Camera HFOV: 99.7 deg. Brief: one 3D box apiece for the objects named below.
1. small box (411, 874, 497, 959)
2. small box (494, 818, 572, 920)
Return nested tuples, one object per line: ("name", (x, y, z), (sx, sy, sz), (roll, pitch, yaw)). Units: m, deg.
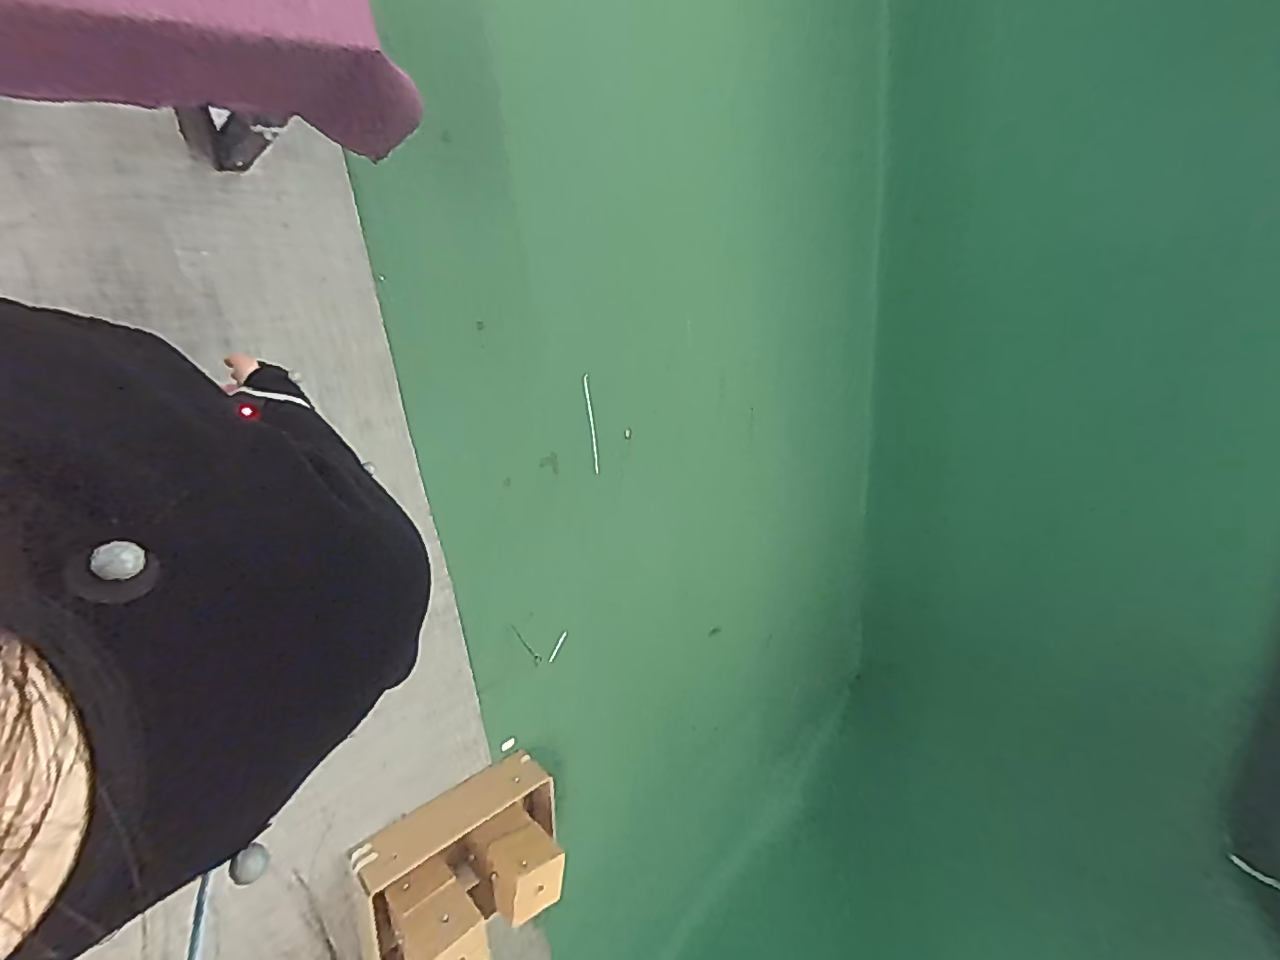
("small box", (-0.534, 1.290, 1.540), (0.179, 0.176, 0.168), (-15, 109, -43))
("small box", (-0.341, 1.221, 1.717), (0.179, 0.176, 0.168), (1, 99, -42))
